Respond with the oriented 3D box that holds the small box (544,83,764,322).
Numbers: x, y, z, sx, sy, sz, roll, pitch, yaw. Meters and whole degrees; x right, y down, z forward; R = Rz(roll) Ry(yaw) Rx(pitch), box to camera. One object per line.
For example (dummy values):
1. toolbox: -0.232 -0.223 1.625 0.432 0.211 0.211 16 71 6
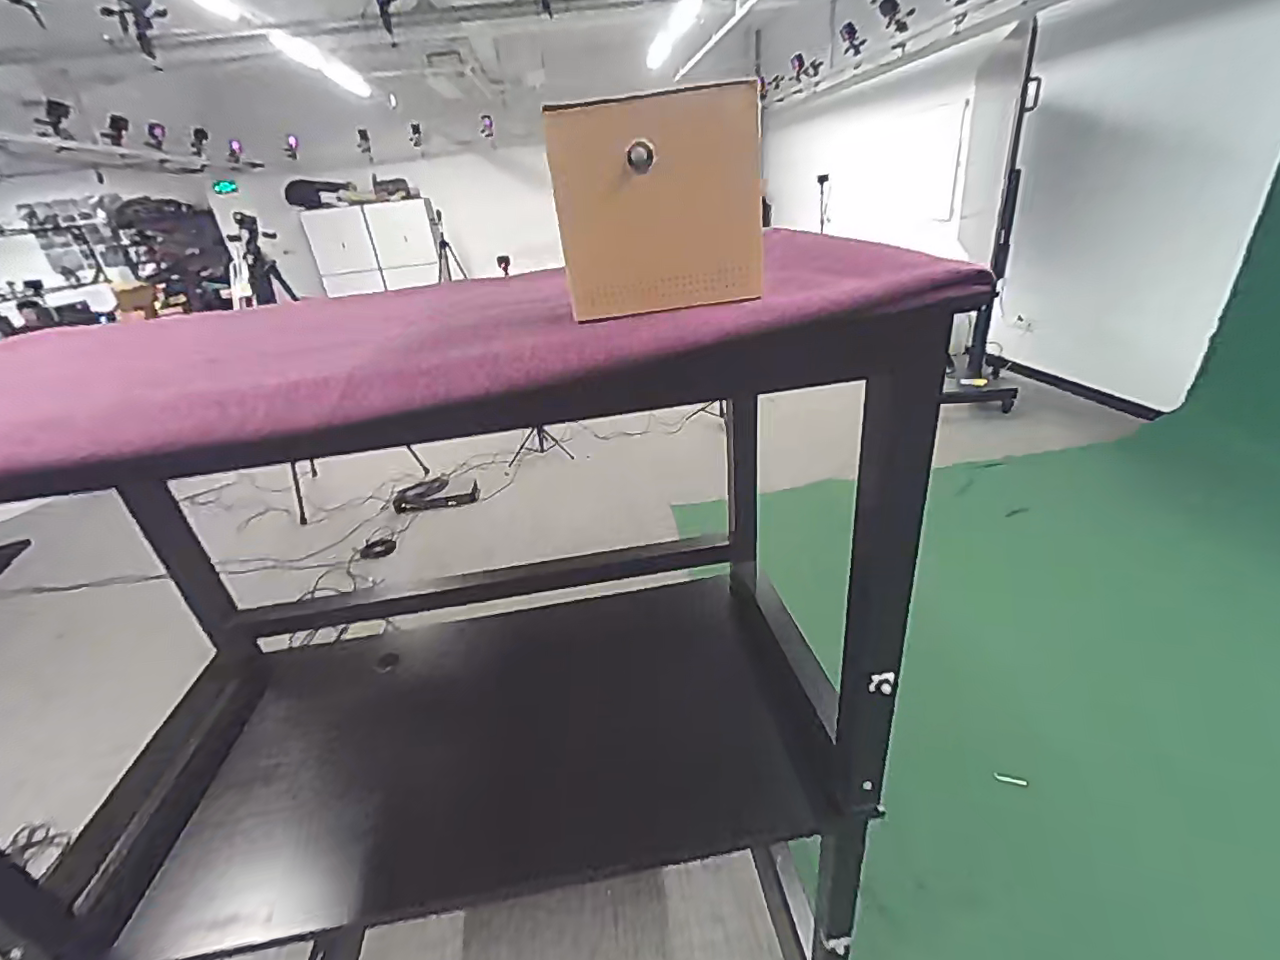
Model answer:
1. small box: 0.018 -0.258 0.529 0.179 0.176 0.168 -6 26 2
